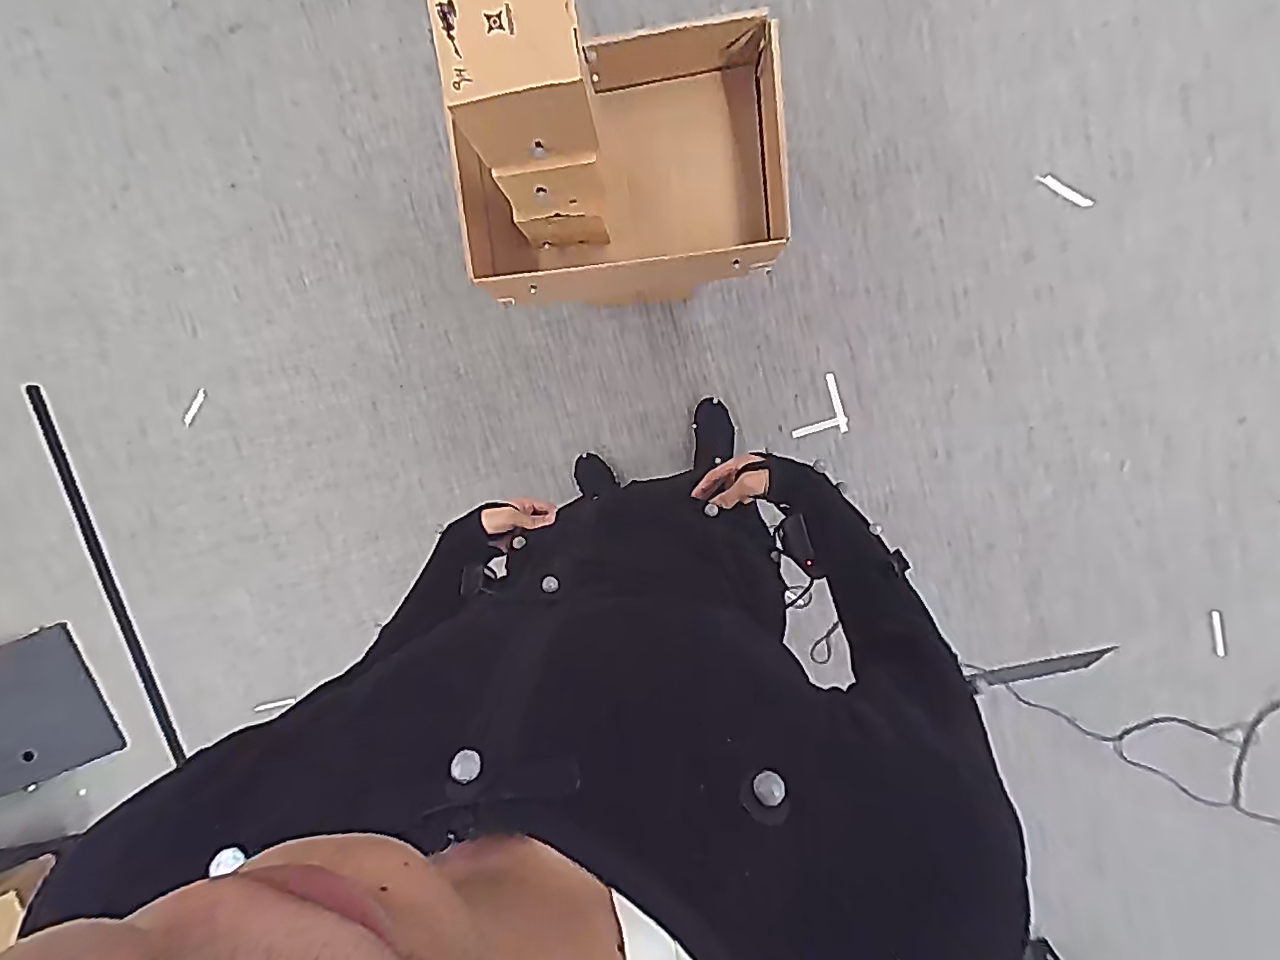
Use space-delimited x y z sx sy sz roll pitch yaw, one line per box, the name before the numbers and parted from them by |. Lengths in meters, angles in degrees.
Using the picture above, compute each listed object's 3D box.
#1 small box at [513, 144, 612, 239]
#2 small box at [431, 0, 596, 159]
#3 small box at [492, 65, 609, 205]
small box | -0.148 -0.582 1.052 0.168 0.176 0.179 -3 96 3
small box | -0.158 -0.563 0.726 0.179 0.176 0.168 -7 96 3
small box | -0.148 -0.573 0.889 0.168 0.176 0.179 -6 96 4
